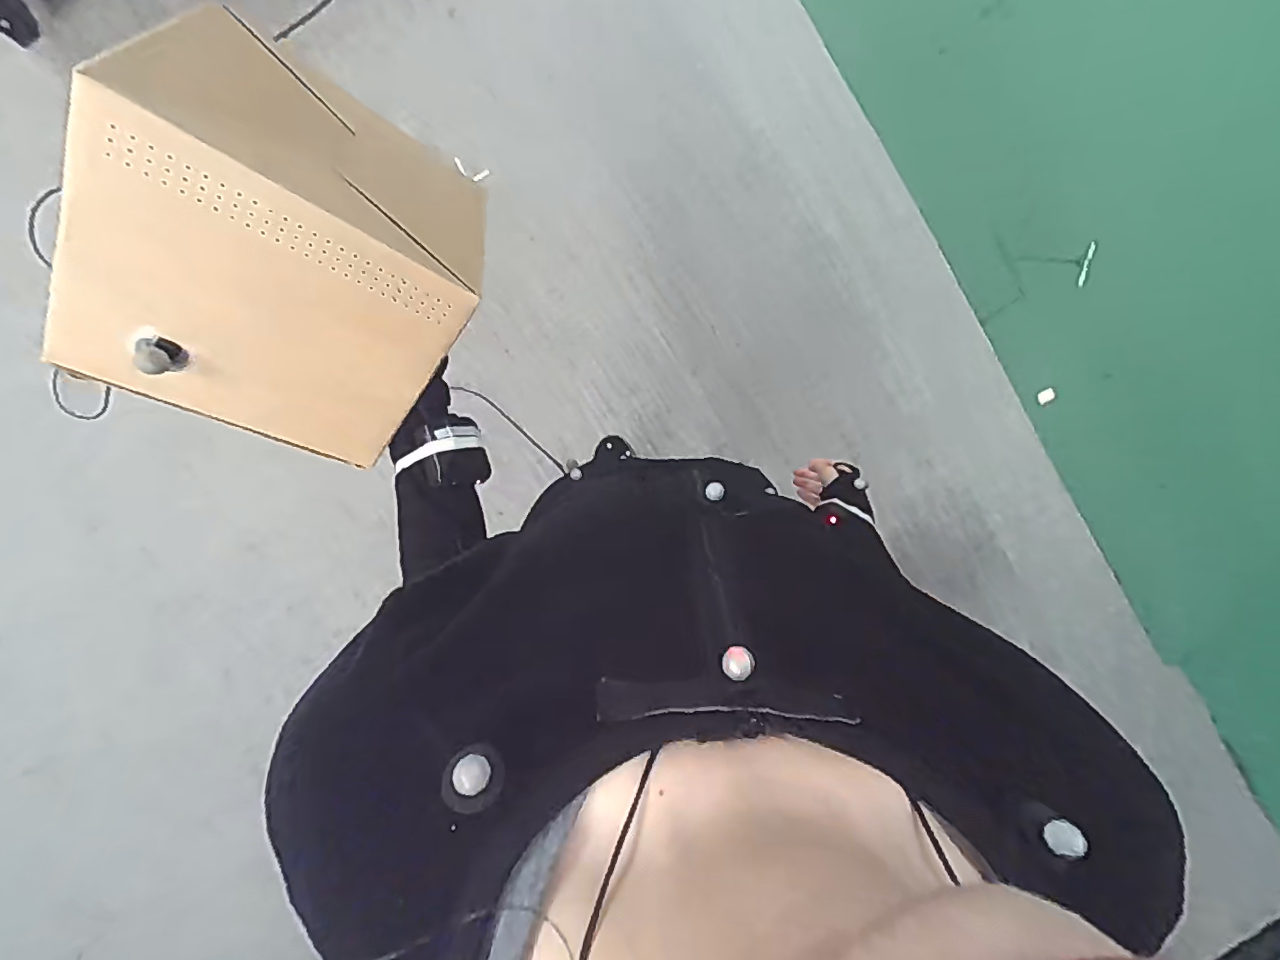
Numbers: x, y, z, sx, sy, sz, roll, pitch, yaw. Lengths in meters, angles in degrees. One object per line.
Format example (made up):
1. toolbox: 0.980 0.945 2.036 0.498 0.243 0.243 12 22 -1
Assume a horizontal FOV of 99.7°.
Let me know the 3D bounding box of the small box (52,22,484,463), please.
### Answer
1. small box: -0.223 -0.146 0.359 0.179 0.168 0.176 23 128 -34
